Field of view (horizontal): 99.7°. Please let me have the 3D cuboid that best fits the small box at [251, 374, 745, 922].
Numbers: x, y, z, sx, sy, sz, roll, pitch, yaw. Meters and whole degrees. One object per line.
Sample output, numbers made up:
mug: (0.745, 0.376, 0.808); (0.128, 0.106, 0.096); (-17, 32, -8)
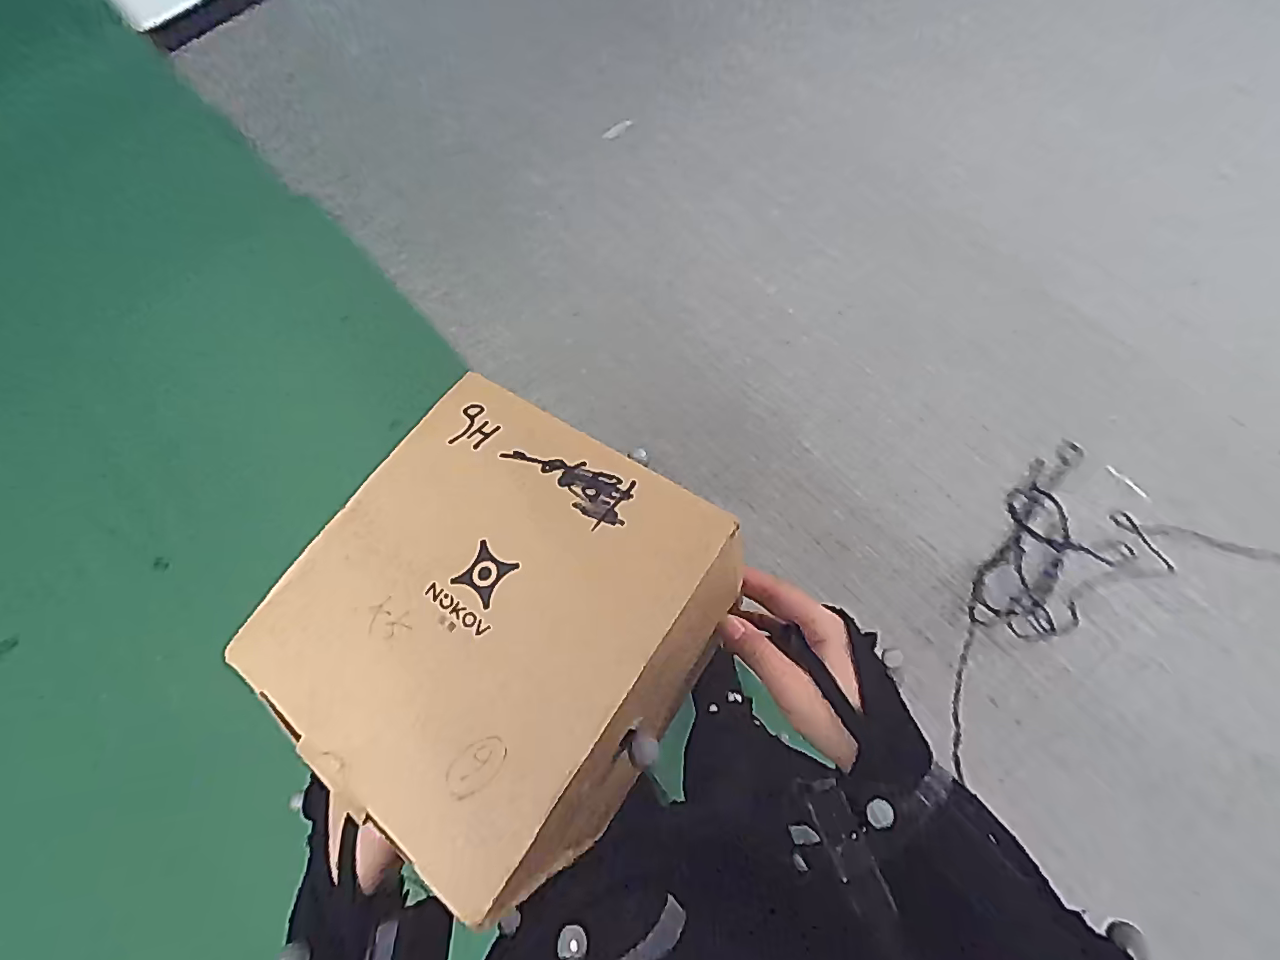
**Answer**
small box: (-0.050, 0.081, 0.306); (0.168, 0.176, 0.179); (31, 75, 22)
